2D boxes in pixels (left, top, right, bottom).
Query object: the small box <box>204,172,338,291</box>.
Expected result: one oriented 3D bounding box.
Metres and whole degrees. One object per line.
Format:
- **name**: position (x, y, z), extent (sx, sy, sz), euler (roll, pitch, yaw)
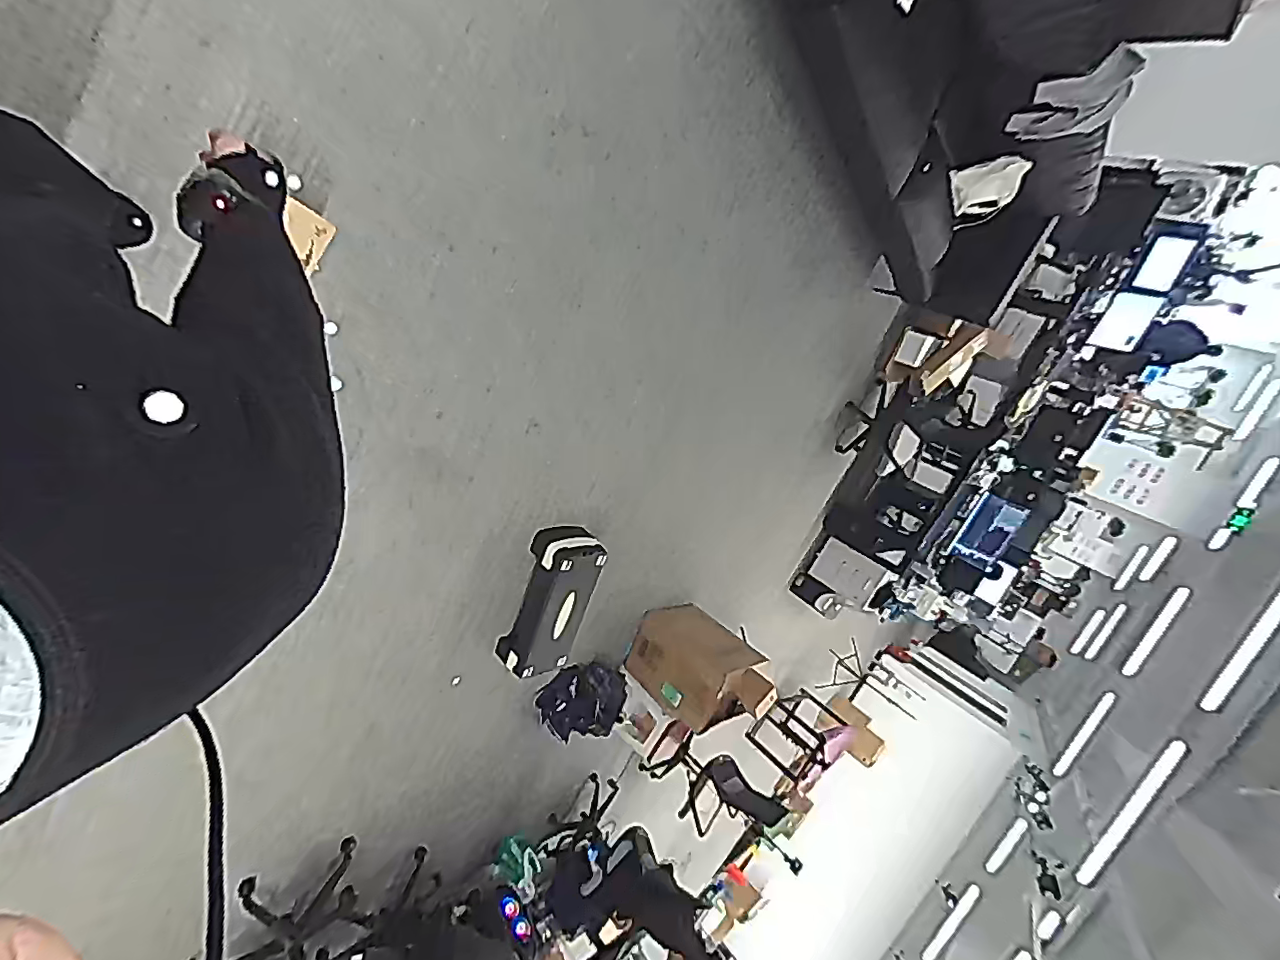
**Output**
- **small box**: position (-0.813, -0.546, 1.186), extent (0.179, 0.176, 0.168), euler (27, 95, -53)
